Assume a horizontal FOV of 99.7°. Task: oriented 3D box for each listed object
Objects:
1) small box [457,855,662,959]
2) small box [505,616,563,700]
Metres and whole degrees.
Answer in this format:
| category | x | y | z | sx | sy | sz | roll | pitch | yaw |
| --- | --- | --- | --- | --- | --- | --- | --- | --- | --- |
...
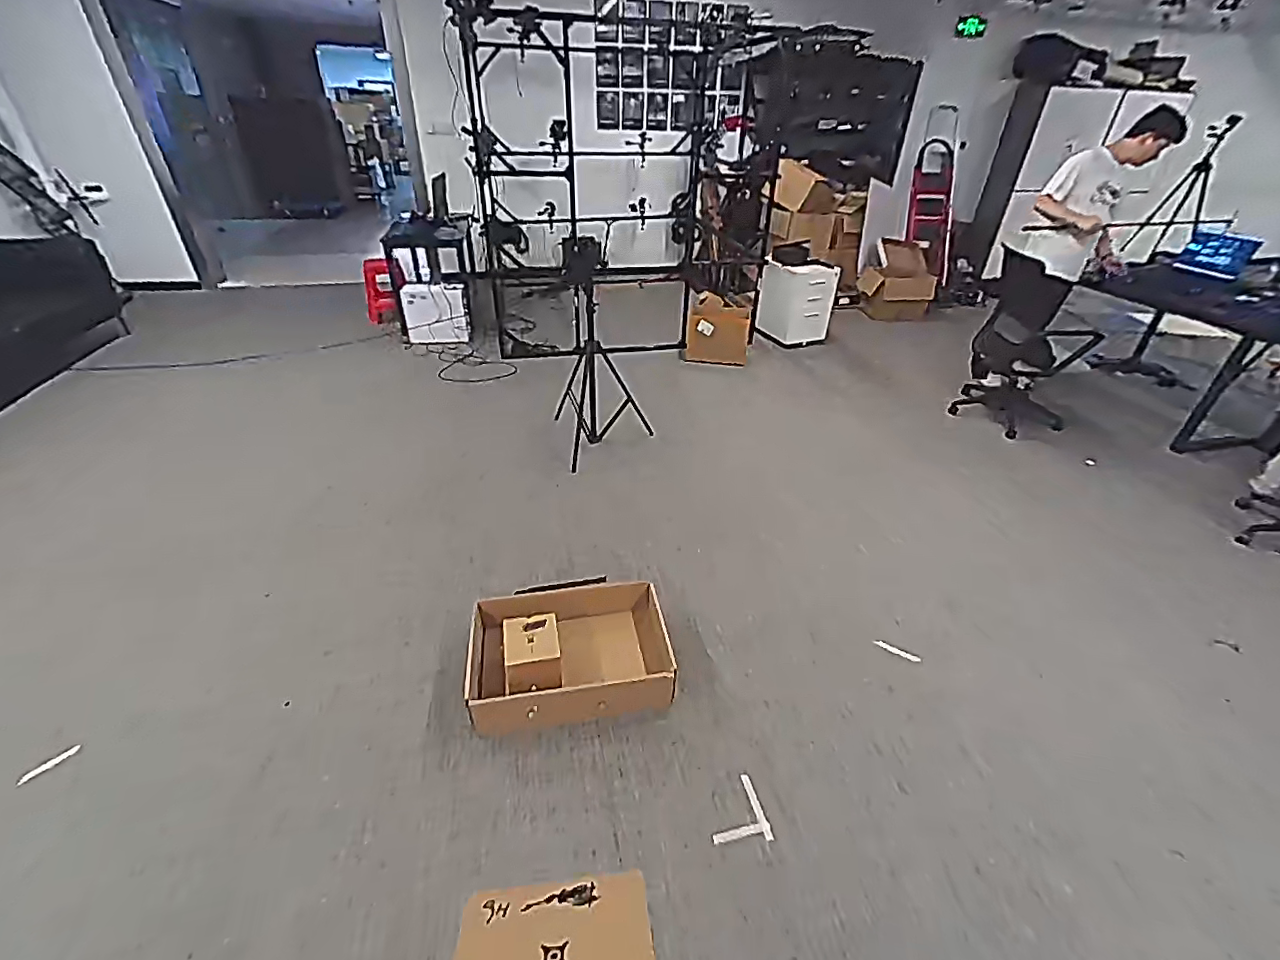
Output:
| category | x | y | z | sx | sy | sz | roll | pitch | yaw |
| --- | --- | --- | --- | --- | --- | --- | --- | --- | --- |
| small box | -0.058 | 0.457 | 0.435 | 0.168 | 0.176 | 0.179 | -4 | 6 | -6 |
| small box | -0.335 | 0.558 | 1.699 | 0.168 | 0.176 | 0.179 | -6 | 35 | -12 |
